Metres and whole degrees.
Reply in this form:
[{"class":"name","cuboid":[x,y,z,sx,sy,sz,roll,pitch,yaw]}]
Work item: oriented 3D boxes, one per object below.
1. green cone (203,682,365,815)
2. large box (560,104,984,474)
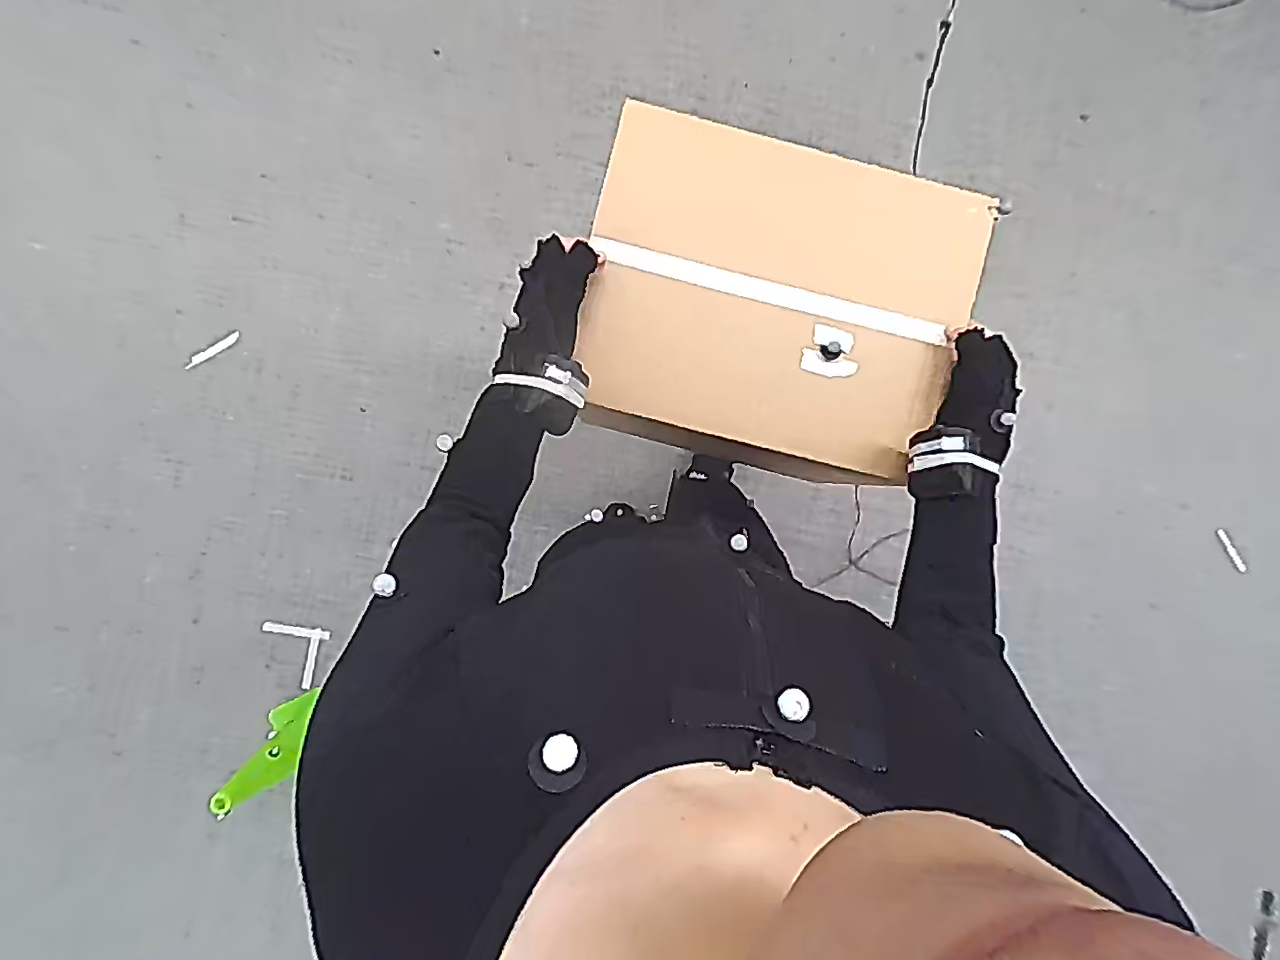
[{"class":"green cone","cuboid":[-0.838,0.642,1.241,0.202,0.368,0.200,-26,88,-2]},{"class":"large box","cuboid":[0.135,-0.202,0.716,0.408,0.320,0.320,14,90,-2]}]
